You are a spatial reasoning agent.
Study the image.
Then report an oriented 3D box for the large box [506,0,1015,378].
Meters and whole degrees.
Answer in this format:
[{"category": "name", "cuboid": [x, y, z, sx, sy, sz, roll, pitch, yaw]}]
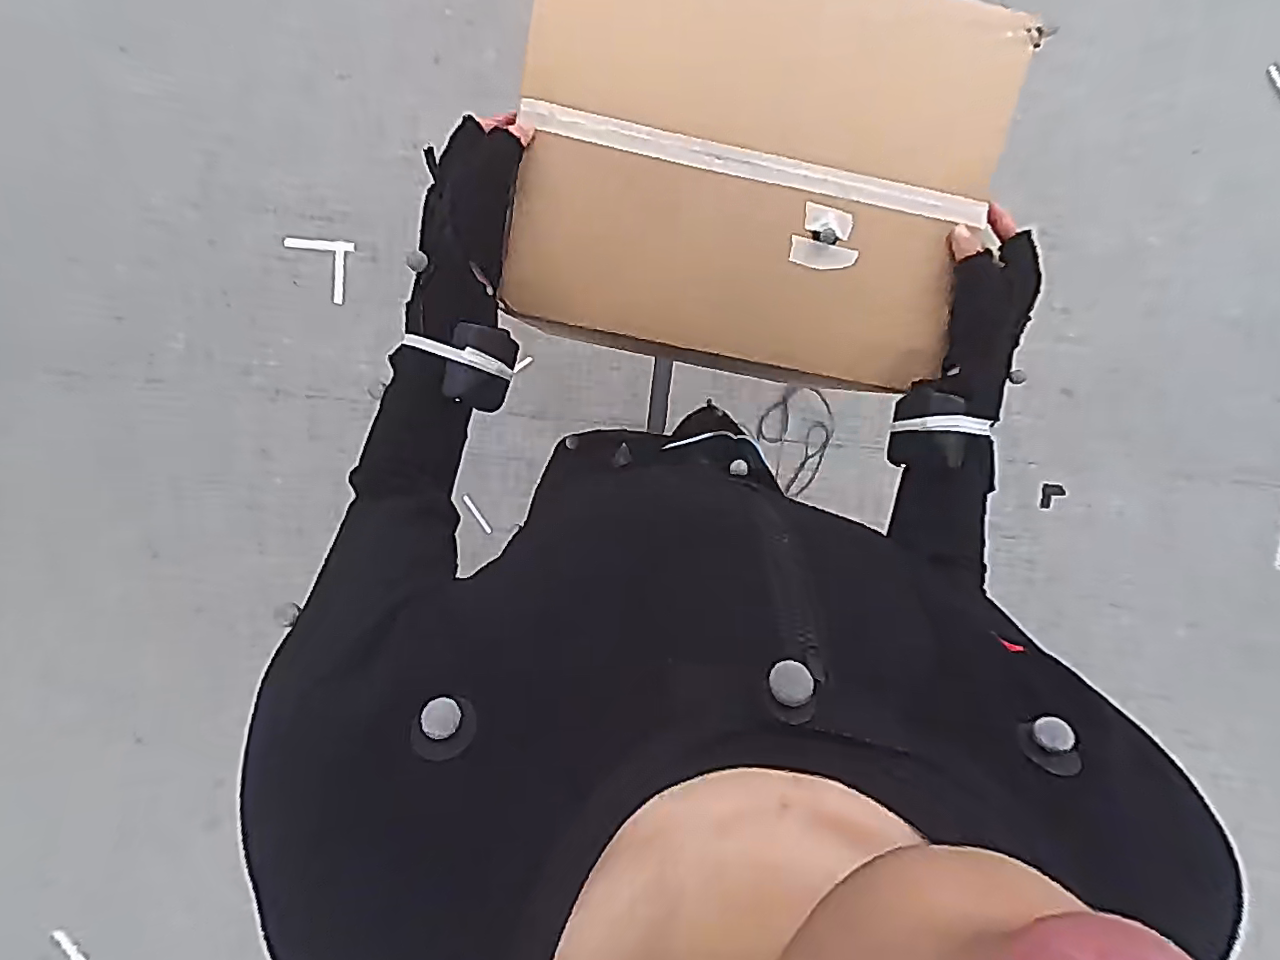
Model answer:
[{"category": "large box", "cuboid": [0.090, -0.306, 0.616, 0.408, 0.320, 0.320, 11, 102, -5]}]
